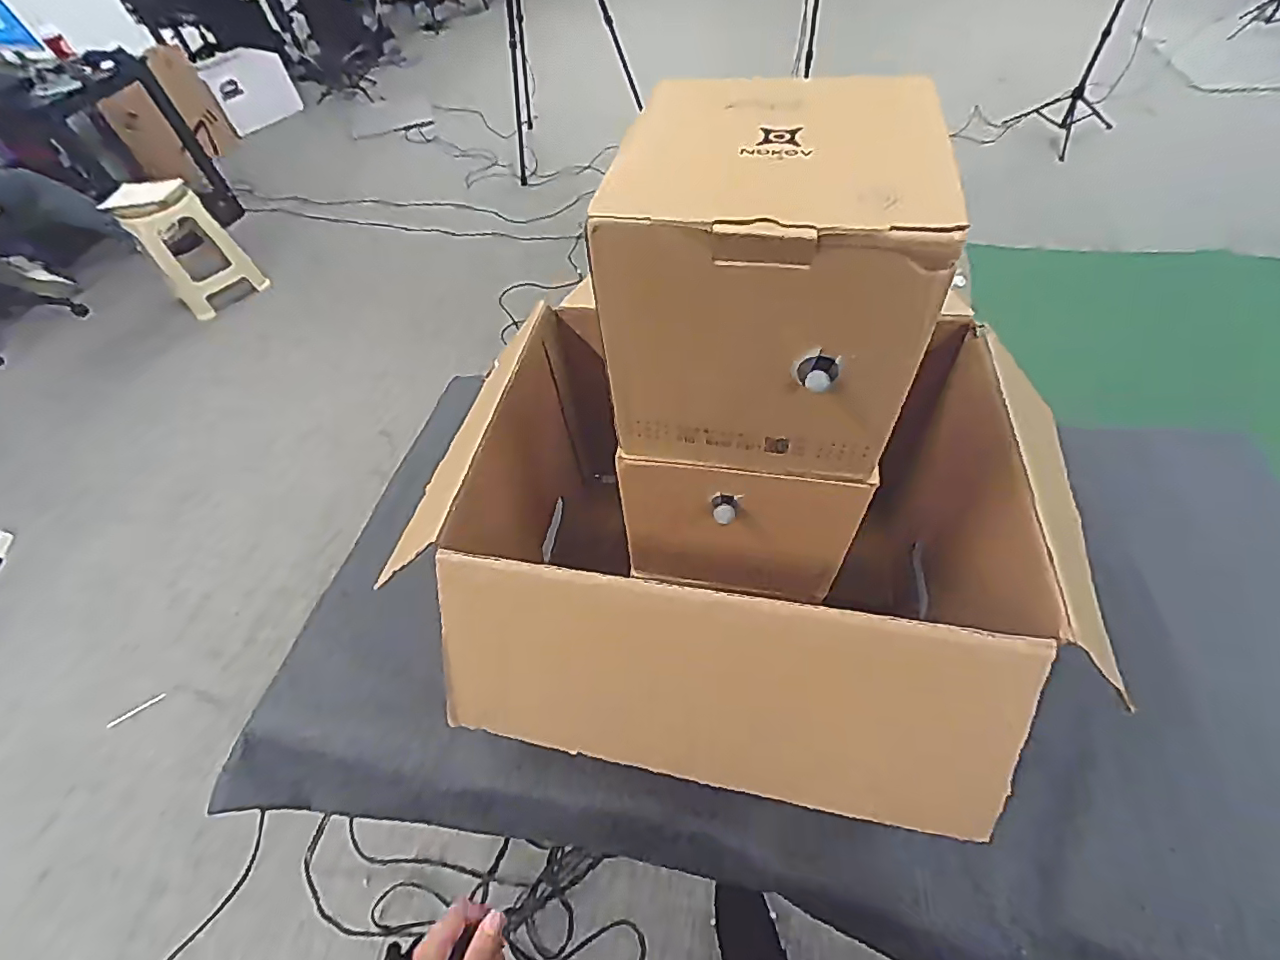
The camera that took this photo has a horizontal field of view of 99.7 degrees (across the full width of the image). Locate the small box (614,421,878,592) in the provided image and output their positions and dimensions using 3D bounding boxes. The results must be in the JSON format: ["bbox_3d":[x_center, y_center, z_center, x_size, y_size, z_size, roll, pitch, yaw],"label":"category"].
[{"bbox_3d":[0.088,-0.019,0.465,0.179,0.176,0.168,6,53,11],"label":"small box"}]

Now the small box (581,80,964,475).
[{"bbox_3d":[0.076,-0.123,0.342,0.168,0.176,0.179,8,53,11],"label":"small box"}]
